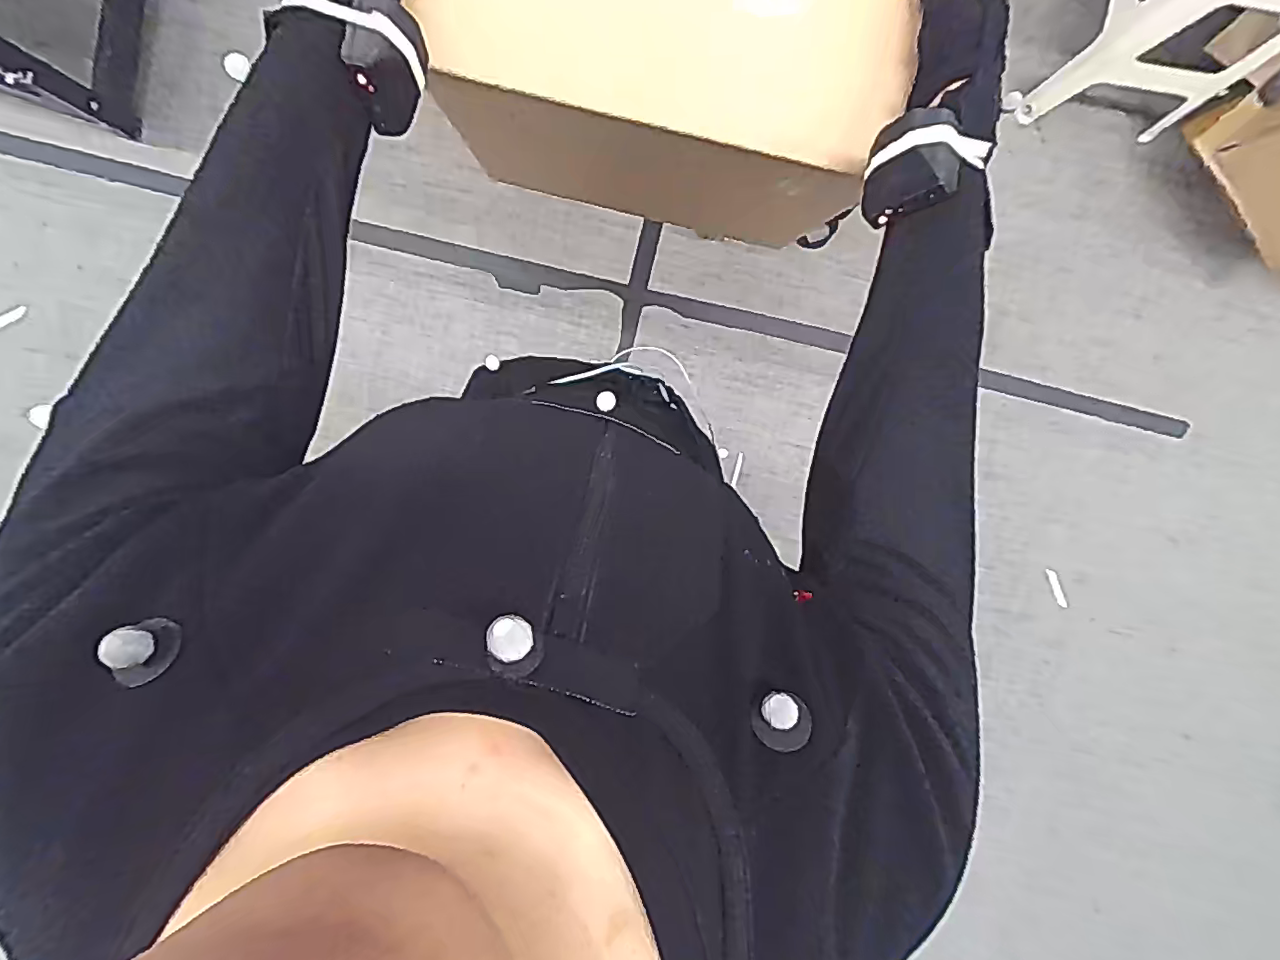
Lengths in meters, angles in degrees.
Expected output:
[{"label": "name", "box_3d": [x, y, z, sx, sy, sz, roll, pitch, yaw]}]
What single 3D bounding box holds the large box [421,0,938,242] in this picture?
[{"label": "large box", "box_3d": [0.040, -0.472, 0.554, 0.408, 0.320, 0.320, 11, 104, -6]}]
